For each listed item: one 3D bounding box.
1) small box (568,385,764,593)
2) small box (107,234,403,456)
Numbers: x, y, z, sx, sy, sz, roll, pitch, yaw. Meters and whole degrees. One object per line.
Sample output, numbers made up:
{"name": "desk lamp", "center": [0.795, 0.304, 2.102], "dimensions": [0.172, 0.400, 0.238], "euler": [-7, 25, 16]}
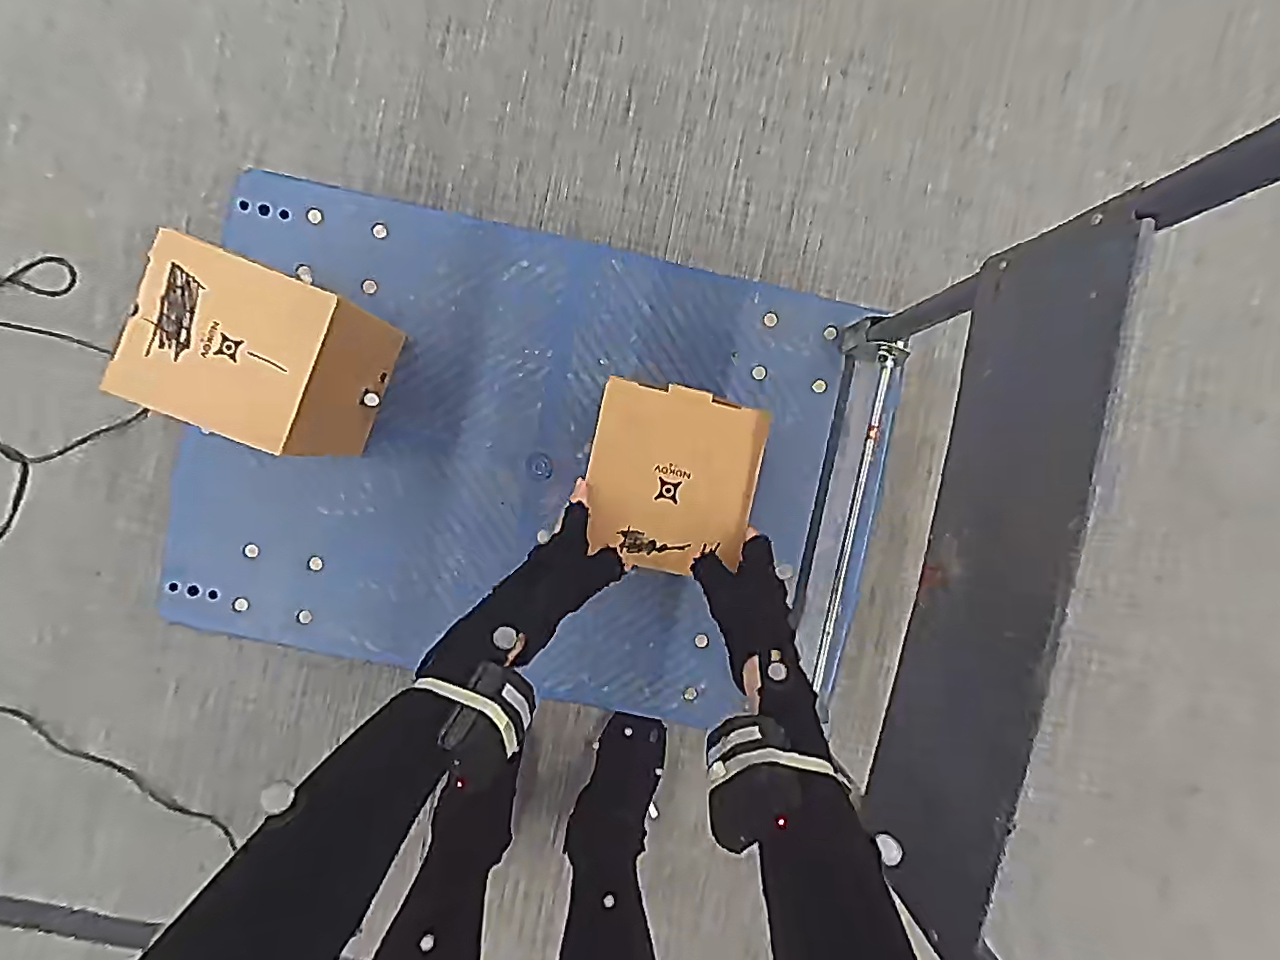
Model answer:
{"name": "small box", "center": [0.023, 0.011, 0.611], "dimensions": [0.168, 0.176, 0.179], "euler": [13, 88, -2]}
{"name": "small box", "center": [-0.397, -0.129, 0.593], "dimensions": [0.179, 0.176, 0.168], "euler": [22, 91, -4]}
